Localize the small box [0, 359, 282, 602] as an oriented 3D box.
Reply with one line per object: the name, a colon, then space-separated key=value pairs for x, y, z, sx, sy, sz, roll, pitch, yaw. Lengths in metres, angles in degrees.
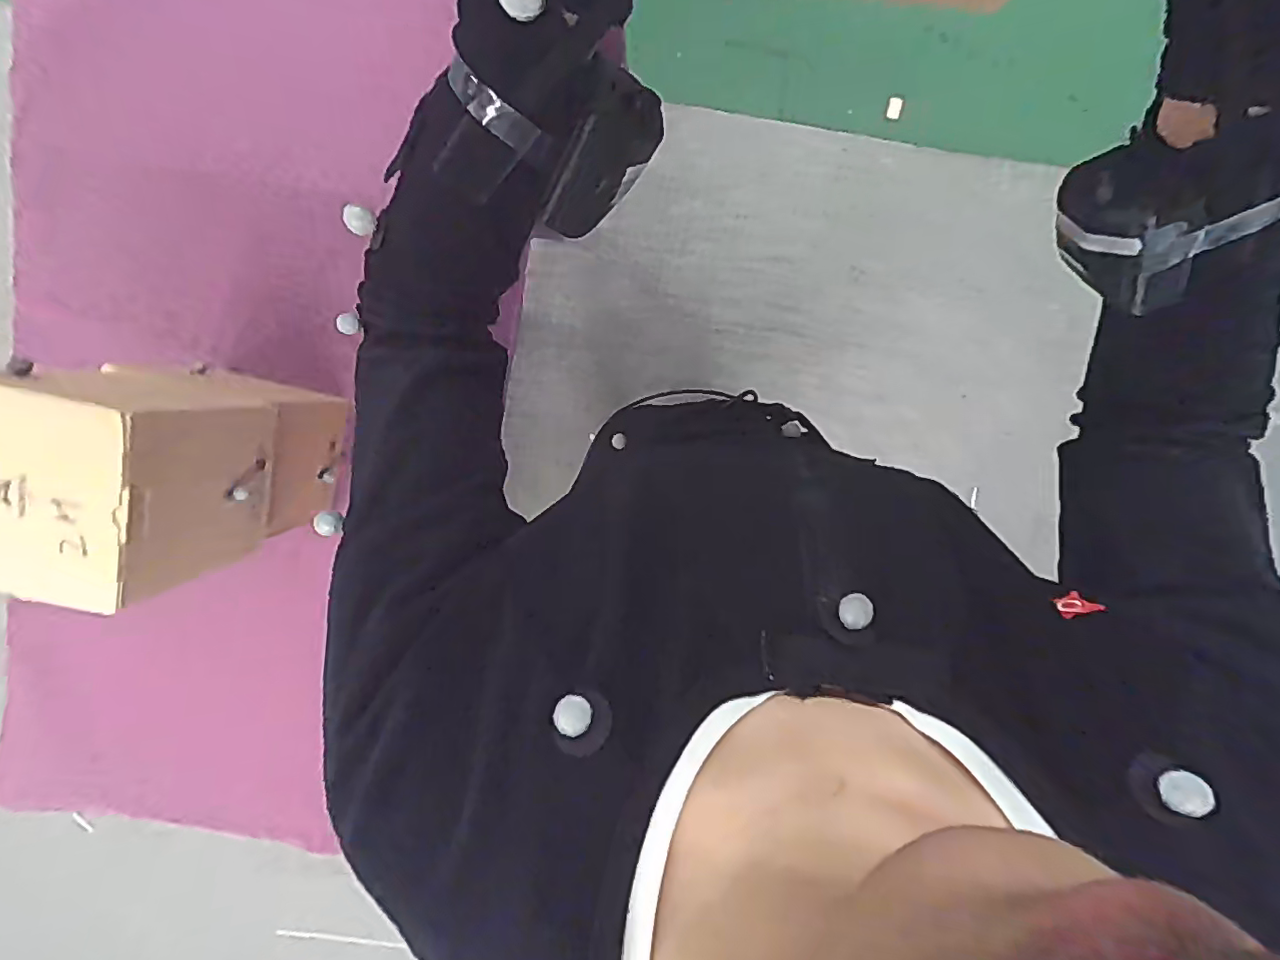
small box: x=-0.476 y=-0.010 z=0.496 sx=0.179 sy=0.176 sz=0.168 roll=12 pitch=99 yaw=-1

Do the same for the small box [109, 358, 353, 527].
small box: x=-0.488 y=-0.042 z=0.657 sx=0.179 sy=0.176 sz=0.168 roll=13 pitch=99 yaw=-2
